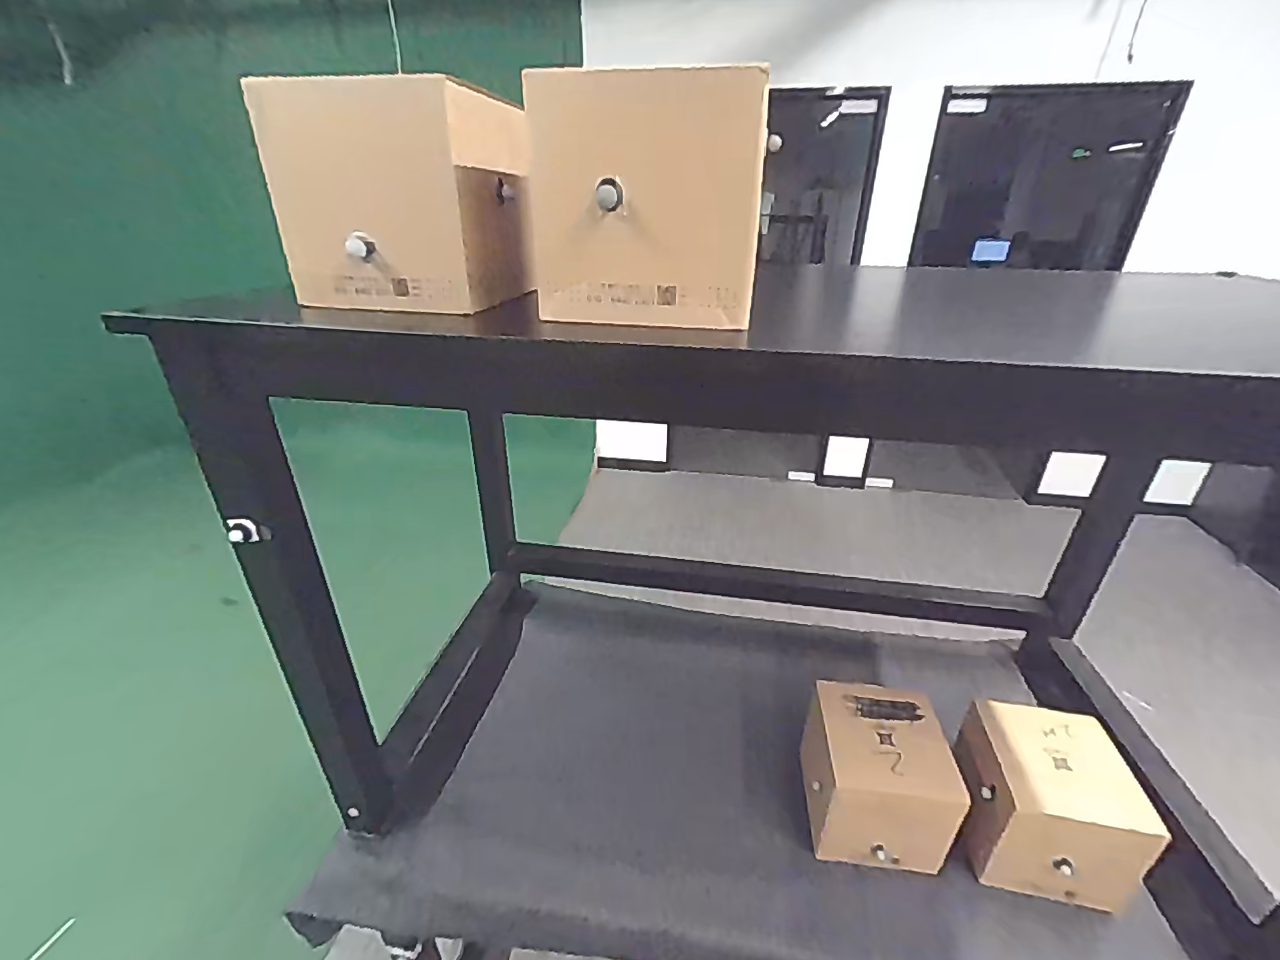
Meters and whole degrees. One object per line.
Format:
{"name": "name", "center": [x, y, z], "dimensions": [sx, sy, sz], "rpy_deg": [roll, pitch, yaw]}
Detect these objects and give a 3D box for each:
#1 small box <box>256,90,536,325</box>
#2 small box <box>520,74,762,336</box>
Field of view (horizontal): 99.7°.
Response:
{"name": "small box", "center": [-0.205, -0.252, 0.512], "dimensions": [0.168, 0.176, 0.179], "rpy_deg": [5, 28, 9]}
{"name": "small box", "center": [0.014, -0.224, 0.465], "dimensions": [0.168, 0.176, 0.179], "rpy_deg": [5, 27, 10]}
